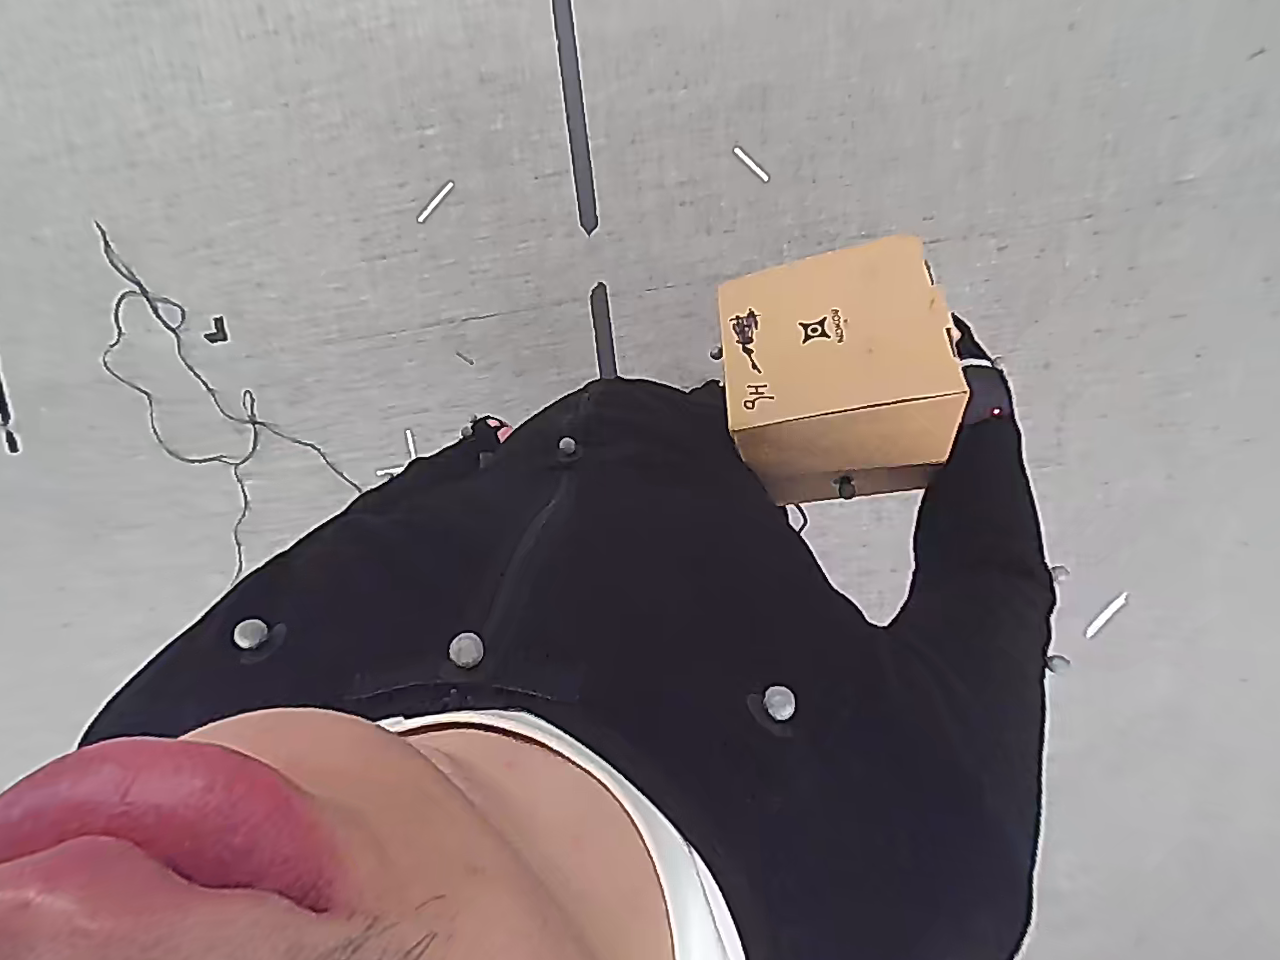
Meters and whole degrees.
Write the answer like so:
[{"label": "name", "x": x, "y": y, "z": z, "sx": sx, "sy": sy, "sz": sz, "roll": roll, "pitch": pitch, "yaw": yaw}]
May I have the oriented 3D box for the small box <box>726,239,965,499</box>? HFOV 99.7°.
[{"label": "small box", "x": 0.189, "y": -0.094, "z": 0.531, "sx": 0.179, "sy": 0.176, "sz": 0.168, "roll": -8, "pitch": 62, "yaw": 18}]
